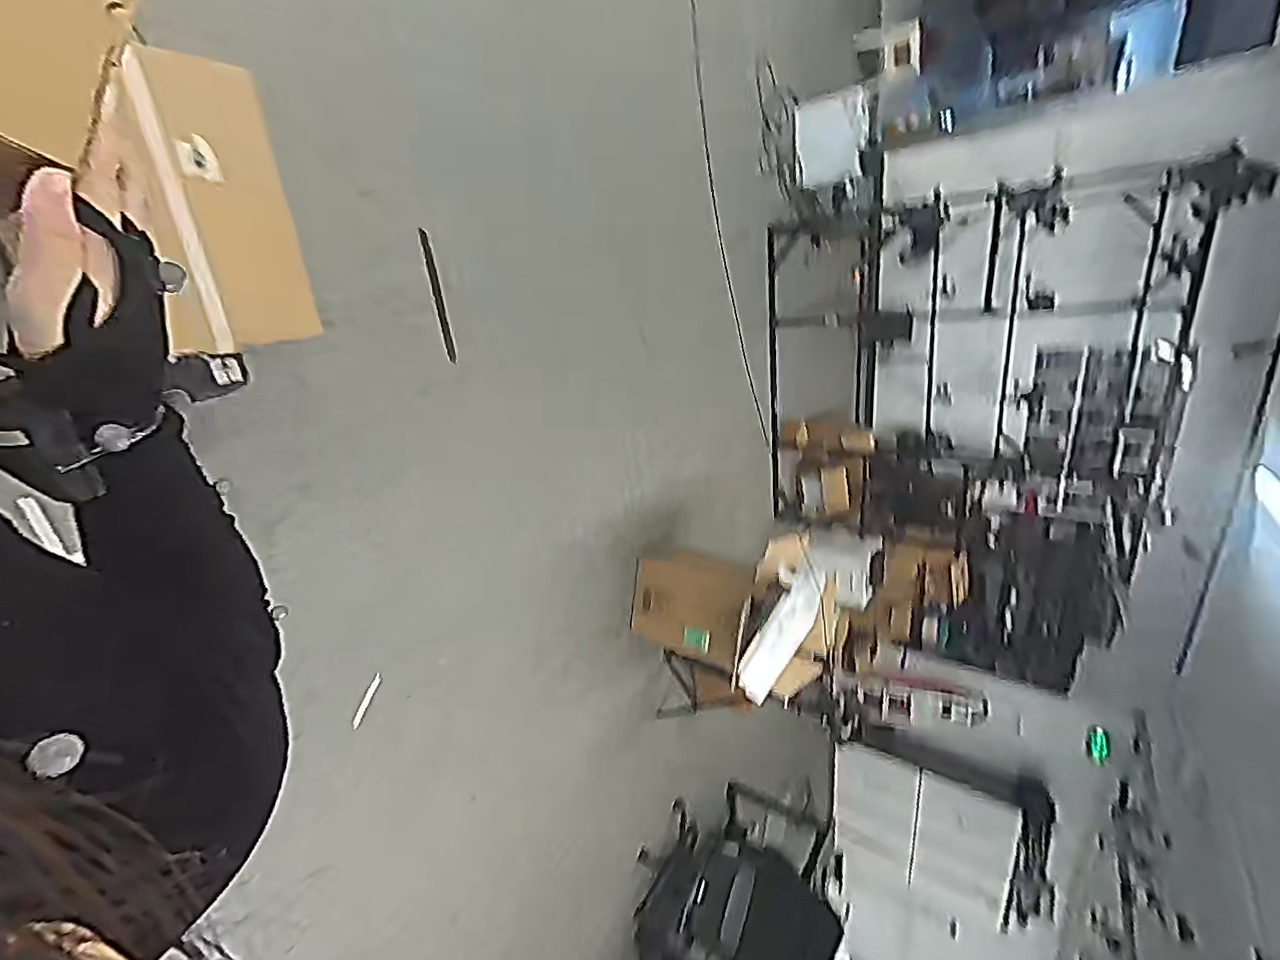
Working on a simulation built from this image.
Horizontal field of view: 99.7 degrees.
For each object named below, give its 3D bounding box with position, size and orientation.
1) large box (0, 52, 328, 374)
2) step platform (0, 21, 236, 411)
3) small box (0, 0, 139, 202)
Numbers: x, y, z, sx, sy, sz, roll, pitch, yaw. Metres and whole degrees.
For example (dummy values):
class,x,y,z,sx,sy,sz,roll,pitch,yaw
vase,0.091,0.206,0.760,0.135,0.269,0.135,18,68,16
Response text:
class,x,y,z,sx,sy,sz,roll,pitch,yaw
large box,-0.784,-0.400,0.875,0.320,0.320,0.408,-29,118,-48
step platform,-0.990,-0.473,0.985,0.286,0.204,0.684,-20,112,-50
small box,-0.359,-0.246,0.231,0.179,0.176,0.168,19,79,-58
